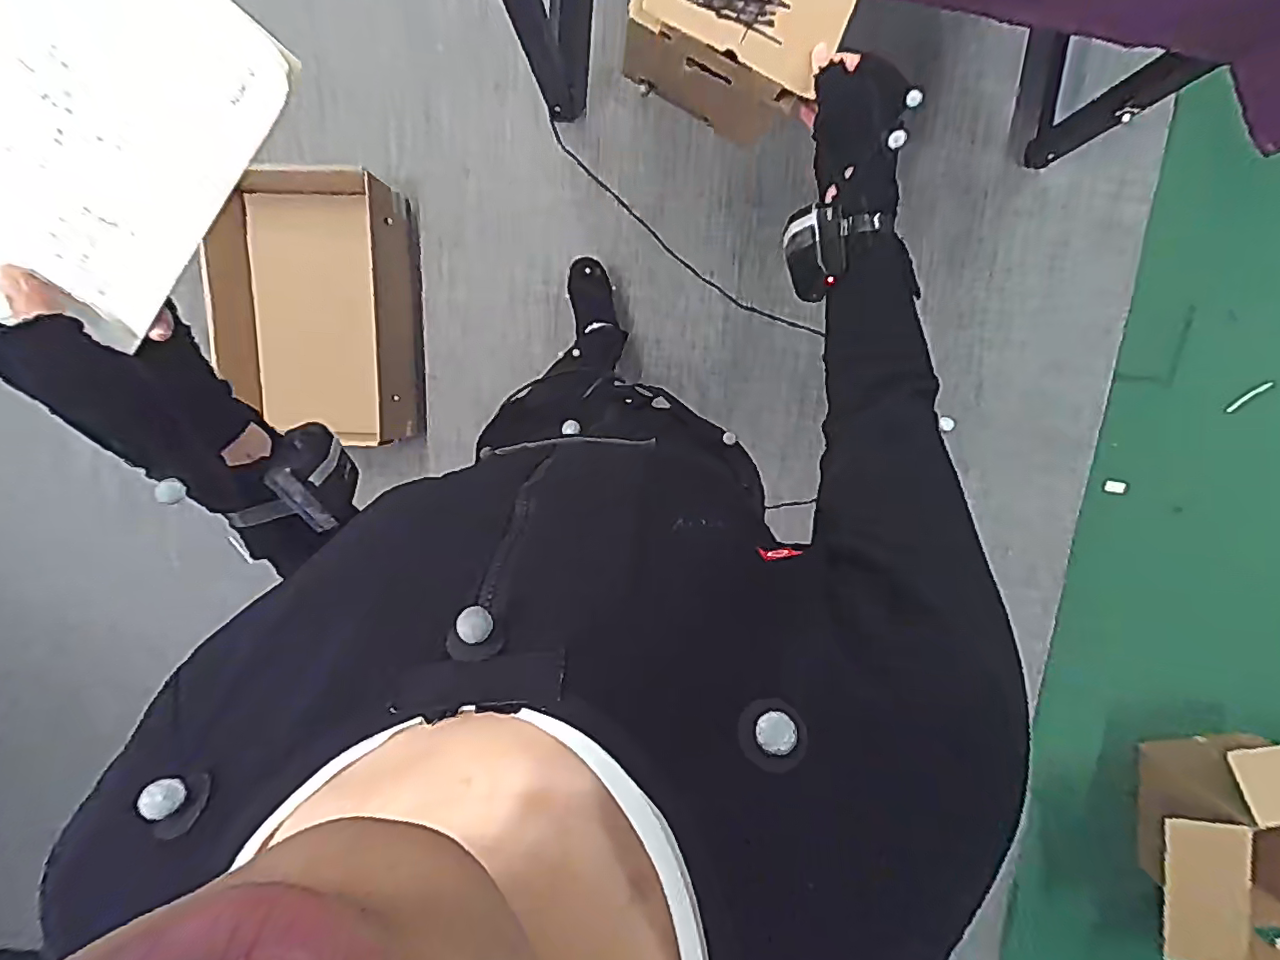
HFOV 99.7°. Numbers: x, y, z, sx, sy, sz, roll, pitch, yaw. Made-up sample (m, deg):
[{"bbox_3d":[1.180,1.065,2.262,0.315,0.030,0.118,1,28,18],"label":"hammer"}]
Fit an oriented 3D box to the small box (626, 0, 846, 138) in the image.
[{"bbox_3d":[0.094,-0.463,0.512,0.168,0.176,0.179,23,108,-14],"label":"small box"}]
